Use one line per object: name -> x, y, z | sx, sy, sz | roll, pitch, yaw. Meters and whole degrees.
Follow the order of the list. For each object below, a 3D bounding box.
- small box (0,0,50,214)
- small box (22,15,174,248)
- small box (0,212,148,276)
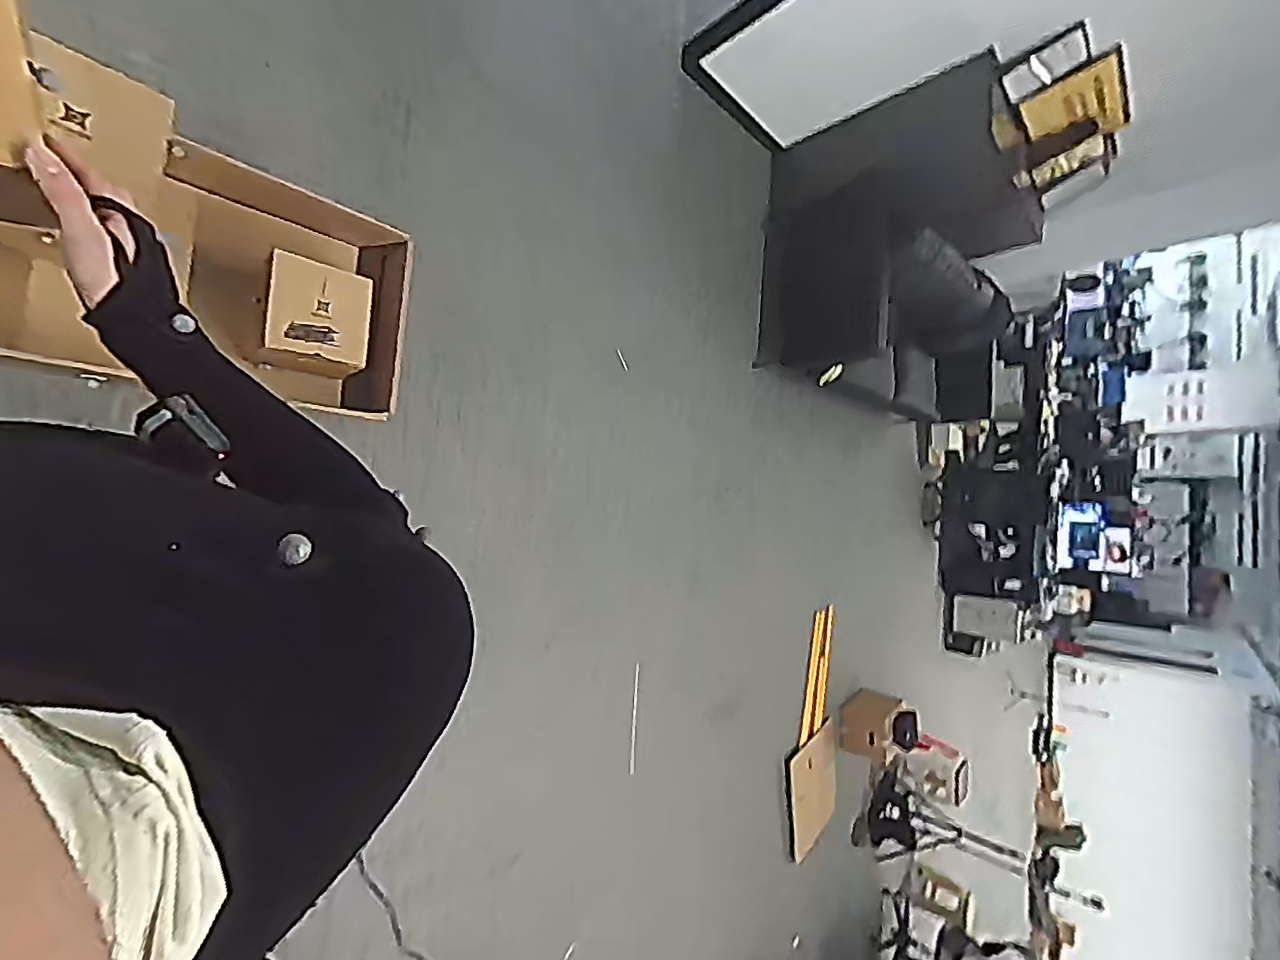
small box -> -0.543, -0.309, 0.372 | 0.168, 0.176, 0.179 | -11, 104, -45
small box -> -0.737, -0.437, 0.701 | 0.168, 0.176, 0.179 | 14, 81, -44
small box -> -0.855, -0.439, 0.815 | 0.168, 0.176, 0.179 | 11, 82, -45
